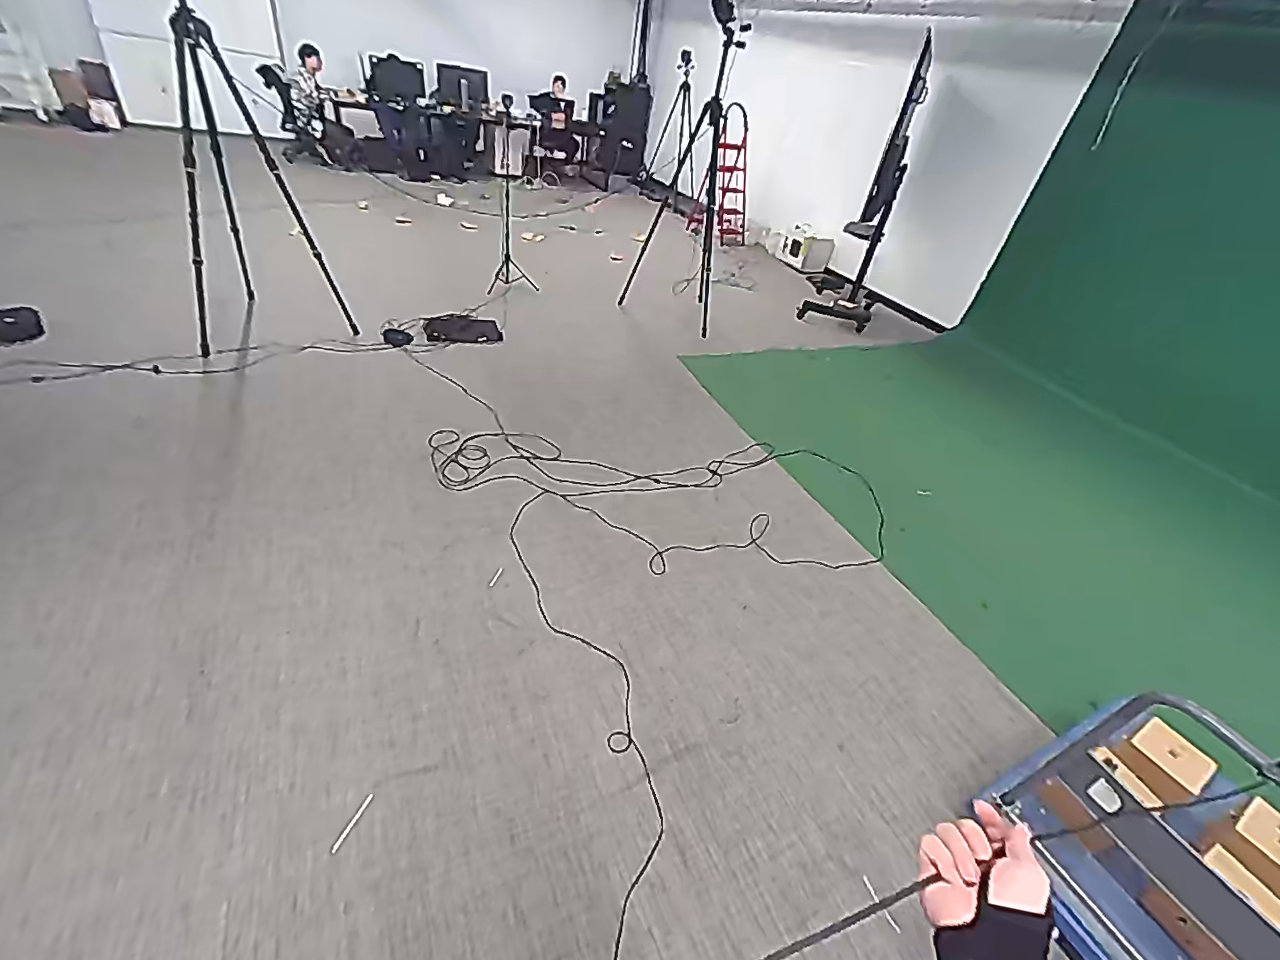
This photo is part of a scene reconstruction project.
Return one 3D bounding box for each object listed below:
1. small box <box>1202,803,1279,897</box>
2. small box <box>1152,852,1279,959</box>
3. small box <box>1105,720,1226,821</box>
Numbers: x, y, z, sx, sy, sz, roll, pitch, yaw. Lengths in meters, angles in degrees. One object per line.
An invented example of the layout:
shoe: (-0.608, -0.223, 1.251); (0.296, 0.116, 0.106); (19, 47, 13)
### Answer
small box: (1.632, 0.987, 1.401); (0.179, 0.176, 0.168); (-15, 43, -27)
small box: (1.392, 1.034, 1.287); (0.179, 0.176, 0.168); (-11, 42, -24)
small box: (1.505, 0.841, 1.563); (0.179, 0.176, 0.168); (-14, 44, -28)
